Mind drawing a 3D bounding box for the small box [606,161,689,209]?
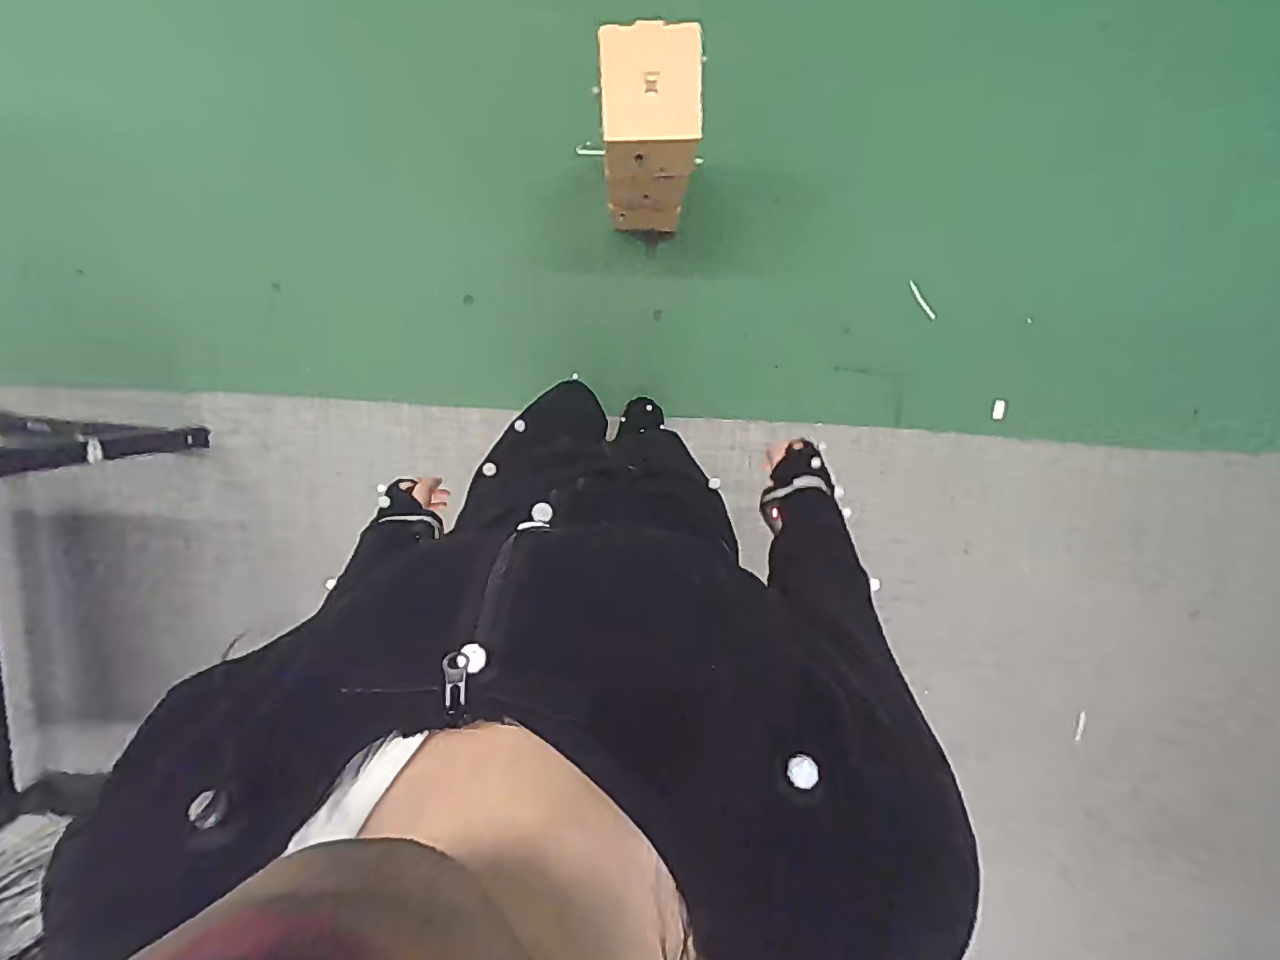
[{"bbox_3d":[0.016,-0.690,1.129,0.168,0.176,0.179,1,99,0],"label":"small box"}]

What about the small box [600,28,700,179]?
[{"bbox_3d":[0.018,-0.660,0.970,0.168,0.176,0.179,-2,99,0],"label":"small box"}]
